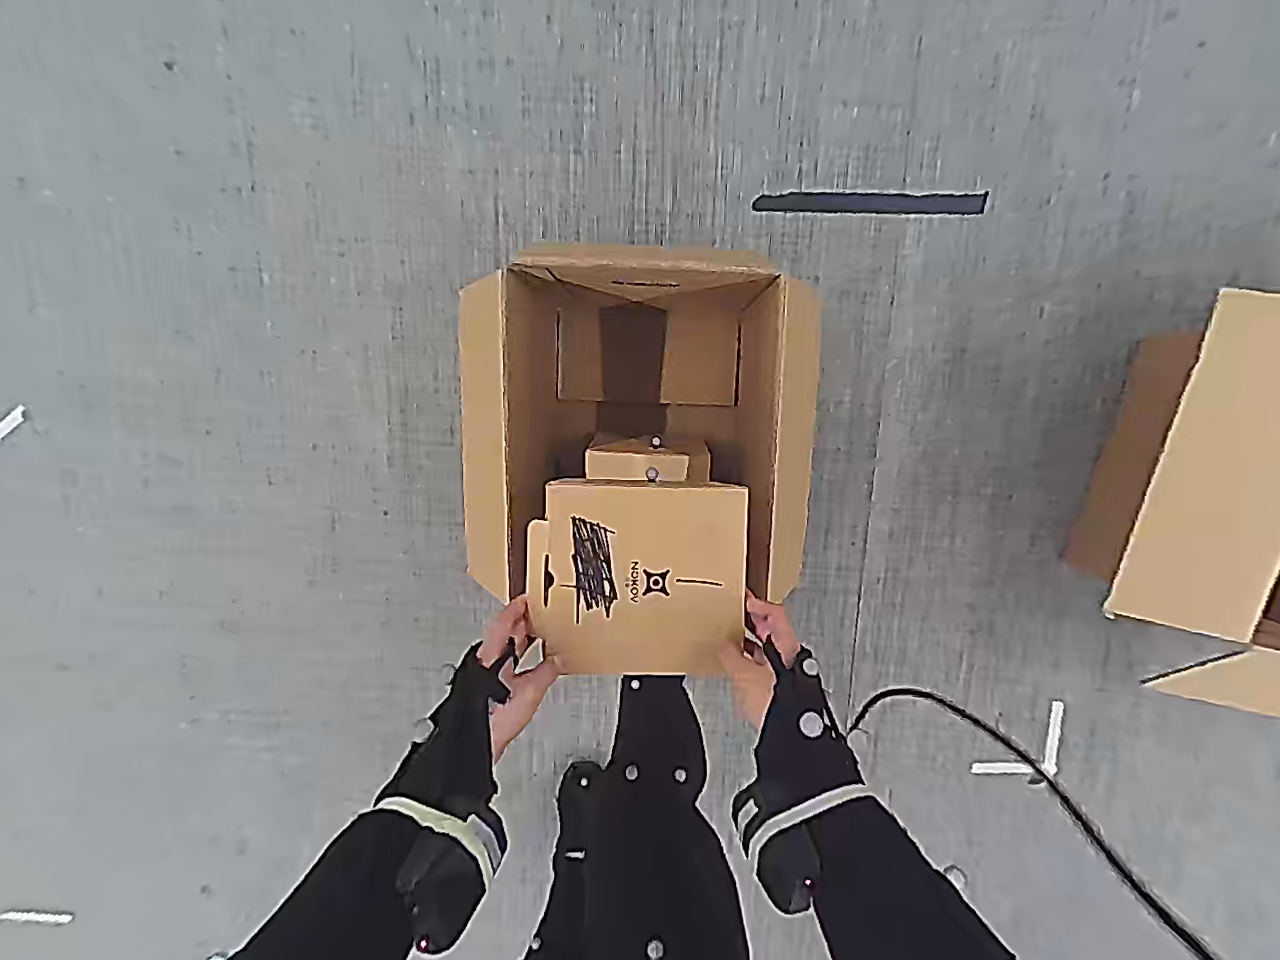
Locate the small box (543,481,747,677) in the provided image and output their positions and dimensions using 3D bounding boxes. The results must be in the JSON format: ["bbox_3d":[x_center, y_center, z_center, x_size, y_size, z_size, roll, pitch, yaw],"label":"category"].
[{"bbox_3d":[0.001,0.088,0.552,0.179,0.176,0.168,1,92,-4],"label":"small box"}]
